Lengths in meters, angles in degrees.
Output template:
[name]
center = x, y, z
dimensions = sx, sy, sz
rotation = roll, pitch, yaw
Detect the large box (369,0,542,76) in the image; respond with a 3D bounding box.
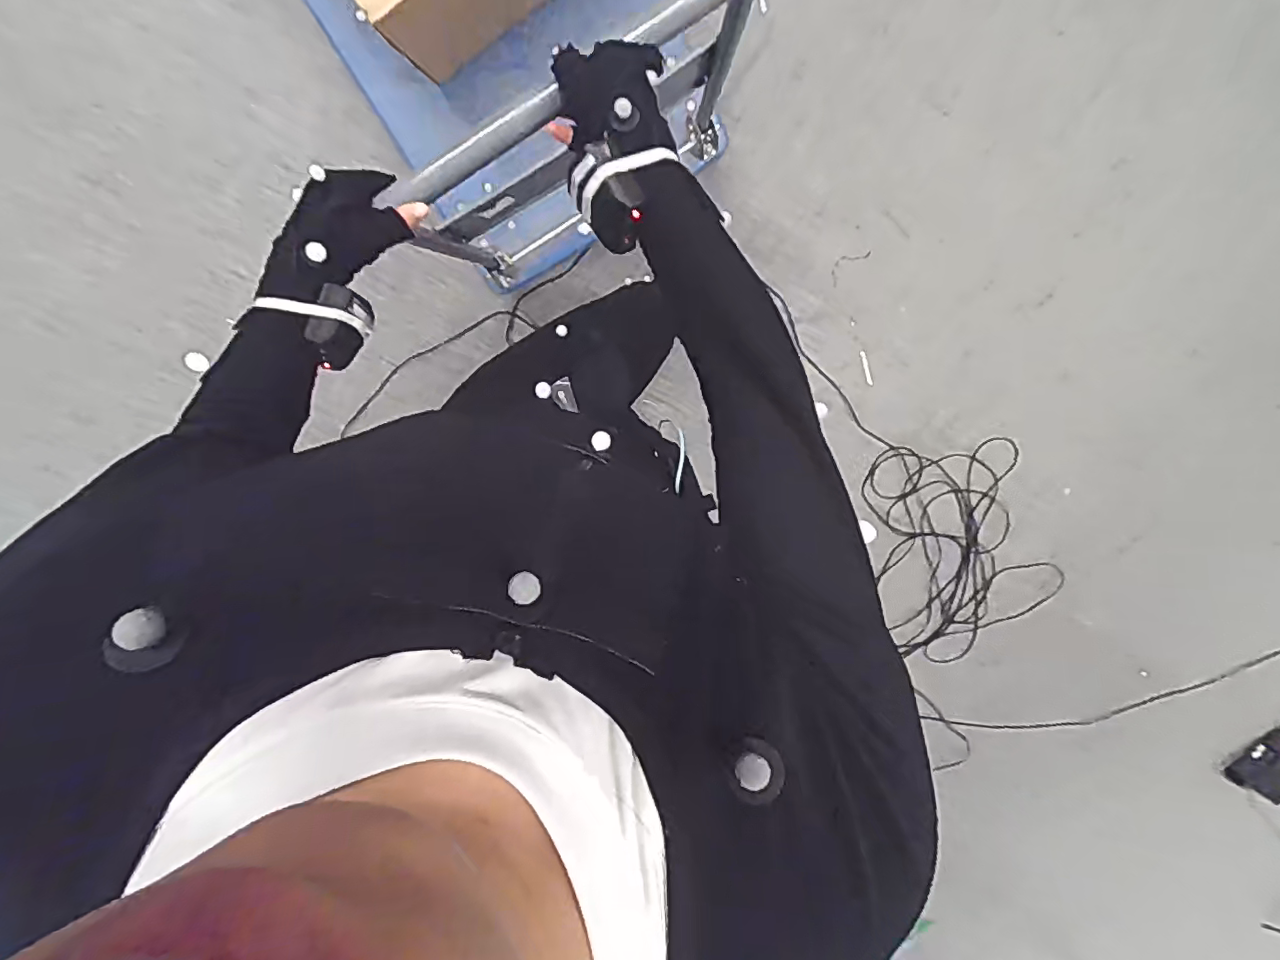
[large box]
center = -0.274, -0.914, 0.801
dimensions = 0.408, 0.320, 0.320
rotation = -30, 111, 11
